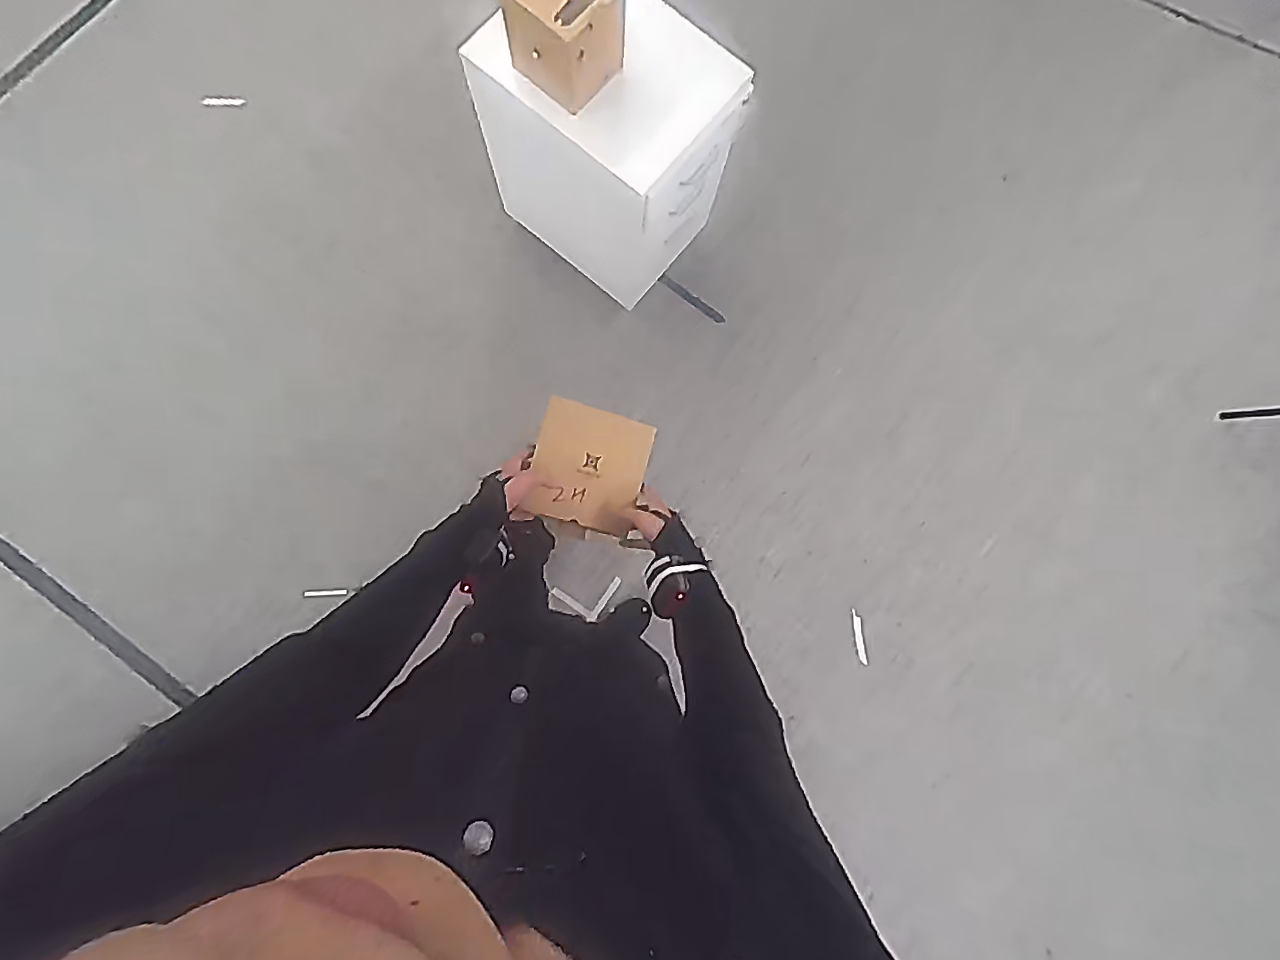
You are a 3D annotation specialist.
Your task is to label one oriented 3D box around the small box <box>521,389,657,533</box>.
[{"bbox_3d":[-0.090,-0.022,0.867,0.168,0.176,0.179,17,84,-11],"label":"small box"}]
